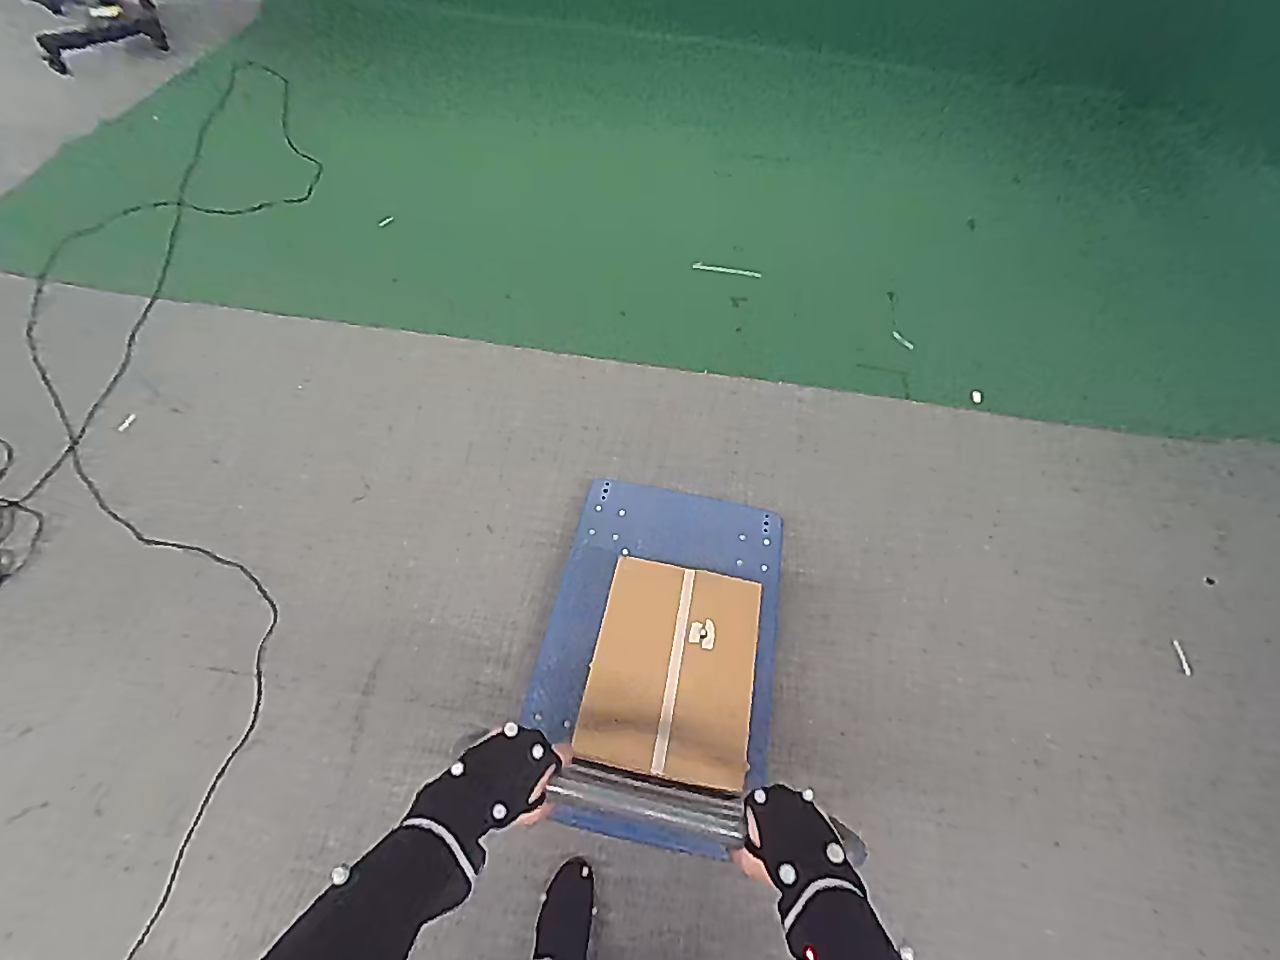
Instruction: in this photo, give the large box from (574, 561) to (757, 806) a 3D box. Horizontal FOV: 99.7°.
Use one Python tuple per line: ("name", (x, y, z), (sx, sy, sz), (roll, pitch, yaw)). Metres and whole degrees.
("large box", (0.058, 0.446, 1.178), (0.320, 0.320, 0.408), (12, 56, 3))
